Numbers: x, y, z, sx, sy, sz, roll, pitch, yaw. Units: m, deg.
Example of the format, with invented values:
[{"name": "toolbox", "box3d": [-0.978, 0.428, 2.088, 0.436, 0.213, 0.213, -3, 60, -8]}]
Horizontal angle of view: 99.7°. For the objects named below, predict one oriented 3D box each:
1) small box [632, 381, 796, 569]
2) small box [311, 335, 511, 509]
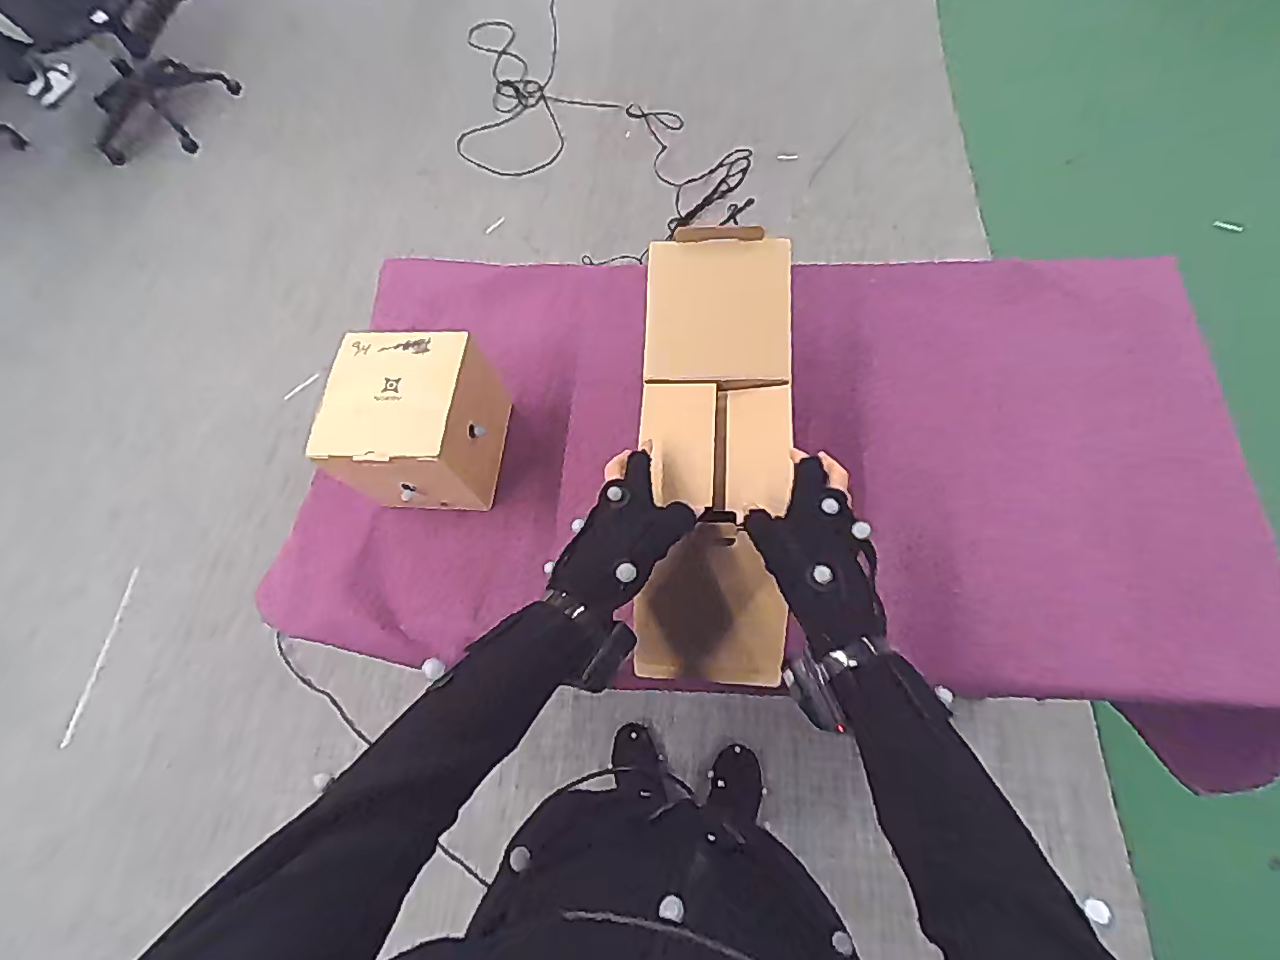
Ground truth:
[{"name": "small box", "box3d": [0.088, 0.002, 0.641, 0.168, 0.176, 0.179, 2, 66, 7]}, {"name": "small box", "box3d": [-0.283, -0.069, 0.713, 0.168, 0.176, 0.179, 2, 67, 7]}]
